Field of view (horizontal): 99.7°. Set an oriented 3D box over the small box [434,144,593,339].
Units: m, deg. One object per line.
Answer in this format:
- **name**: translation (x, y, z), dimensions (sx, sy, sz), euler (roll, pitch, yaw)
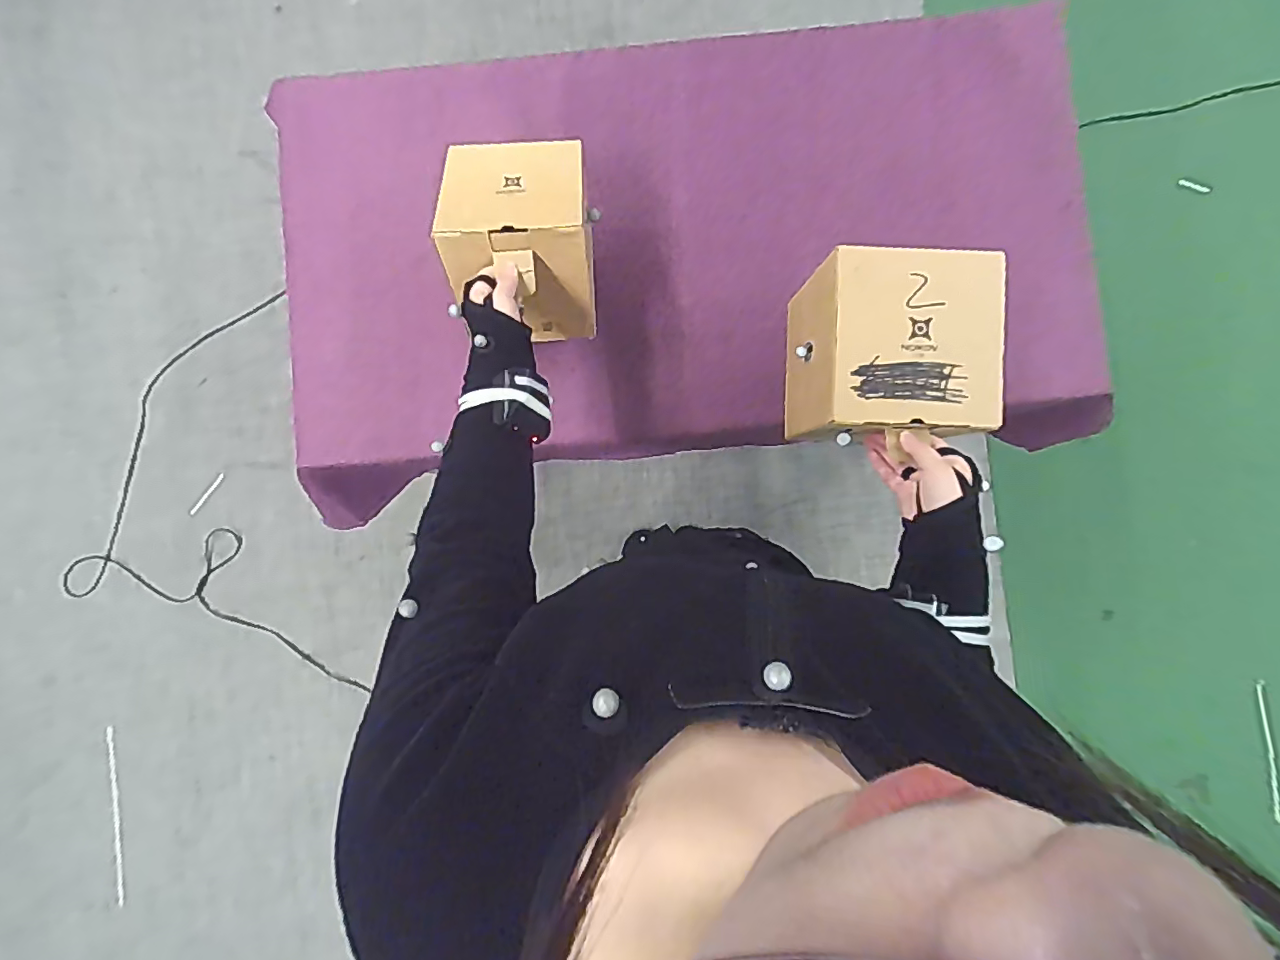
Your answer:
- **small box**: translation (-0.151, -0.308, 0.710), dimensions (0.168, 0.176, 0.179), euler (-3, 60, -1)
